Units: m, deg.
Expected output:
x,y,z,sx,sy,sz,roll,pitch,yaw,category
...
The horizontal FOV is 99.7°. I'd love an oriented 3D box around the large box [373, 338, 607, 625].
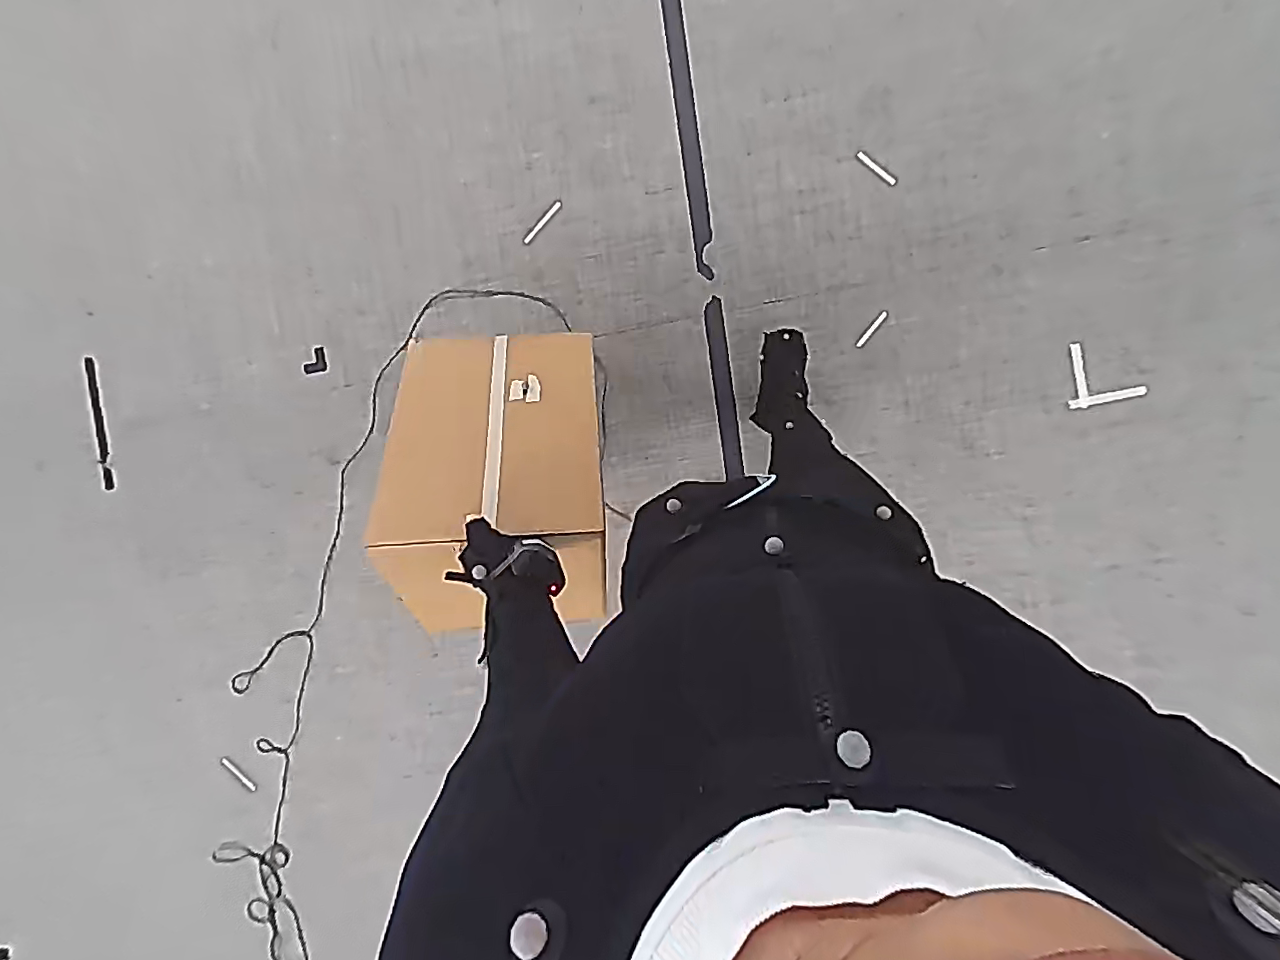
x,y,z,sx,sy,sz,roll,pitch,yaw,category
-0.228,0.003,0.960,0.320,0.320,0.408,-2,54,-5,large box
